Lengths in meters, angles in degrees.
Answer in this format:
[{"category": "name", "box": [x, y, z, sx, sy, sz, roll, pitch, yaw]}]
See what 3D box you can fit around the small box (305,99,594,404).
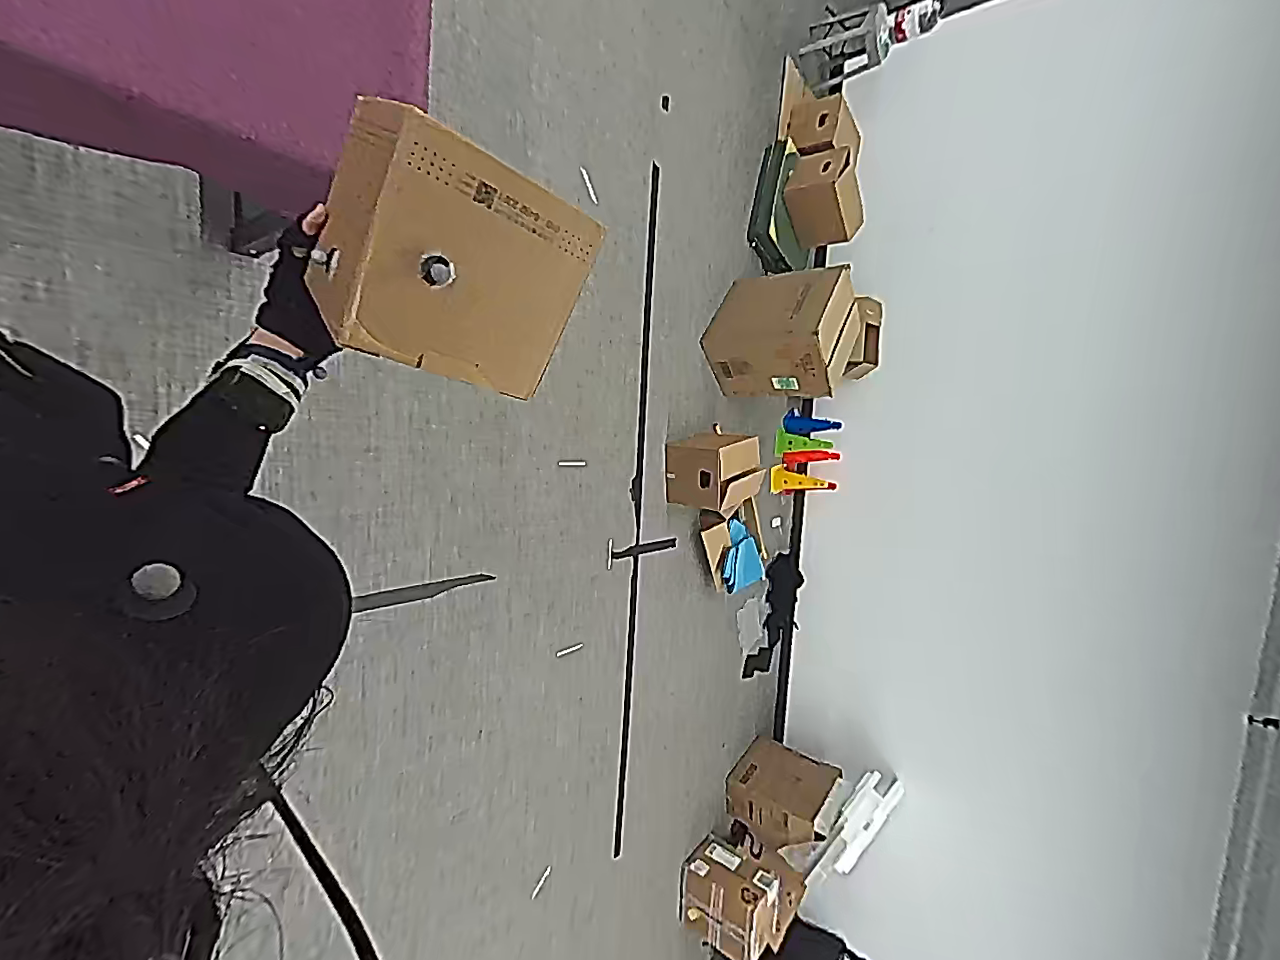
[{"category": "small box", "box": [-0.163, -0.192, 0.467, 0.168, 0.179, 0.176, 14, 112, -44]}]
